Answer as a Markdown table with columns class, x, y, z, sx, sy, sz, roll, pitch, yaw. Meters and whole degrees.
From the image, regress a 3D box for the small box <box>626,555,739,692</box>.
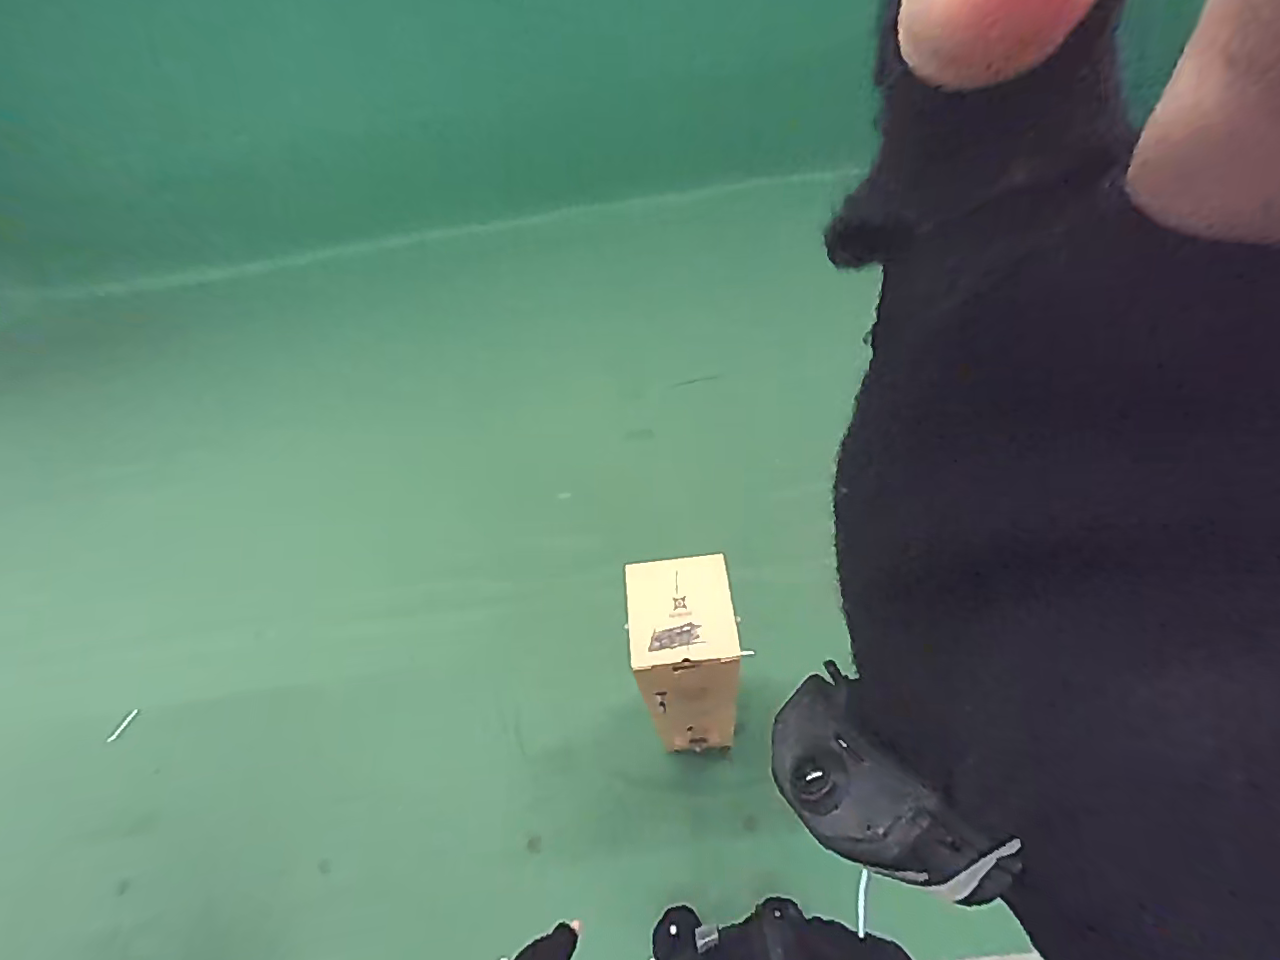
| class | x | y | z | sx | sy | sz | roll | pitch | yaw |
| --- | --- | --- | --- | --- | --- | --- | --- | --- | --- |
| small box | 0.072 | 0.249 | 0.914 | 0.168 | 0.176 | 0.179 | -7 | 53 | 3 |

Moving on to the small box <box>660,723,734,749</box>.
| class | x | y | z | sx | sy | sz | roll | pitch | yaw |
| --- | --- | --- | --- | --- | --- | --- | --- | --- | --- |
| small box | 0.133 | 0.536 | 1.308 | 0.168 | 0.176 | 0.179 | -7 | 53 | 4 |

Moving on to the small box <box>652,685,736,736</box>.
| class | x | y | z | sx | sy | sz | roll | pitch | yaw |
| --- | --- | --- | --- | --- | --- | --- | --- | --- | --- |
| small box | 0.111 | 0.441 | 1.178 | 0.168 | 0.176 | 0.179 | -7 | 54 | 3 |
